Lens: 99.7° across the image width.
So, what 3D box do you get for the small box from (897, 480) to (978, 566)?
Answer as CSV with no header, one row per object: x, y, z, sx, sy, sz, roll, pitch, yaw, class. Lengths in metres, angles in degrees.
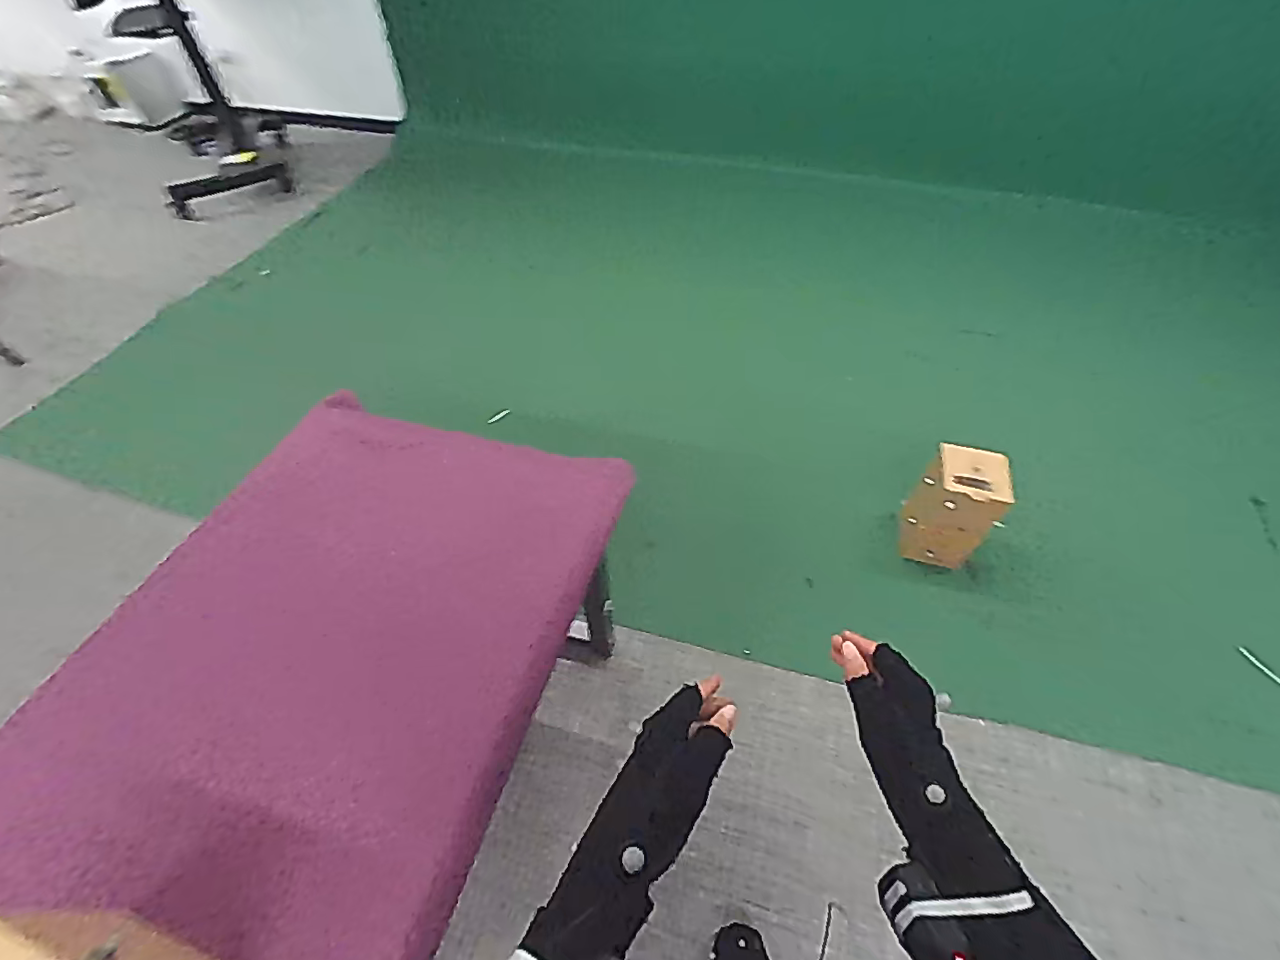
0.895,0.132,1.643,0.168,0.176,0.179,12,53,10,small box

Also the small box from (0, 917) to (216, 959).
-0.487,0.488,0.444,0.179,0.176,0.168,13,52,12,small box
